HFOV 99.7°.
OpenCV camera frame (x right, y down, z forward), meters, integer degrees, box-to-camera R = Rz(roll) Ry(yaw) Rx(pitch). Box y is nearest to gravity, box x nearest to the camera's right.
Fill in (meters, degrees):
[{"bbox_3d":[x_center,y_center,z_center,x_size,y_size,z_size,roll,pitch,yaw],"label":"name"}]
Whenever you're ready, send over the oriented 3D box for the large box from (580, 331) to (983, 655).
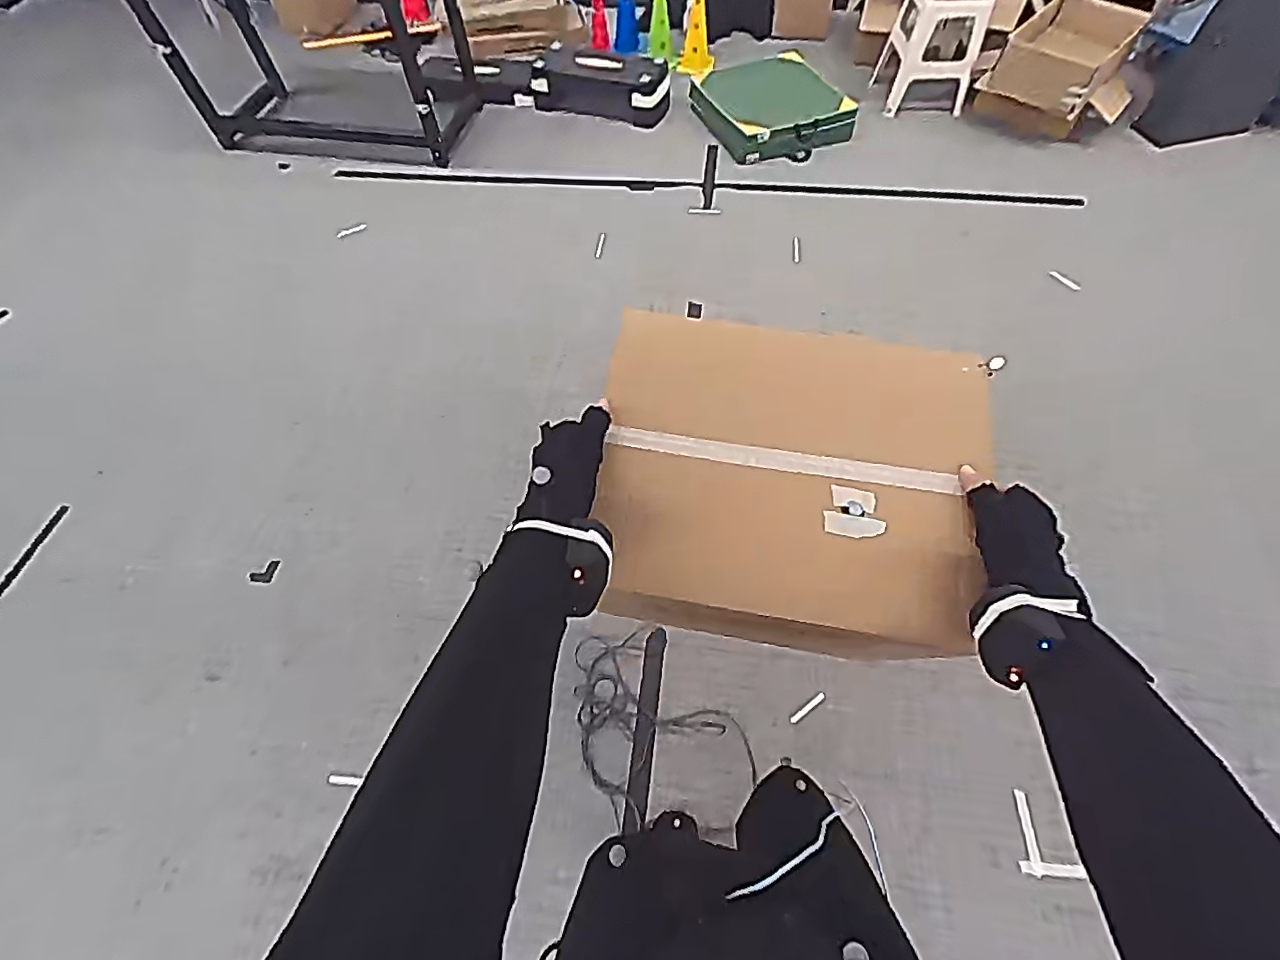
[{"bbox_3d":[0.156,0.041,0.717,0.408,0.320,0.320,9,72,4],"label":"large box"}]
